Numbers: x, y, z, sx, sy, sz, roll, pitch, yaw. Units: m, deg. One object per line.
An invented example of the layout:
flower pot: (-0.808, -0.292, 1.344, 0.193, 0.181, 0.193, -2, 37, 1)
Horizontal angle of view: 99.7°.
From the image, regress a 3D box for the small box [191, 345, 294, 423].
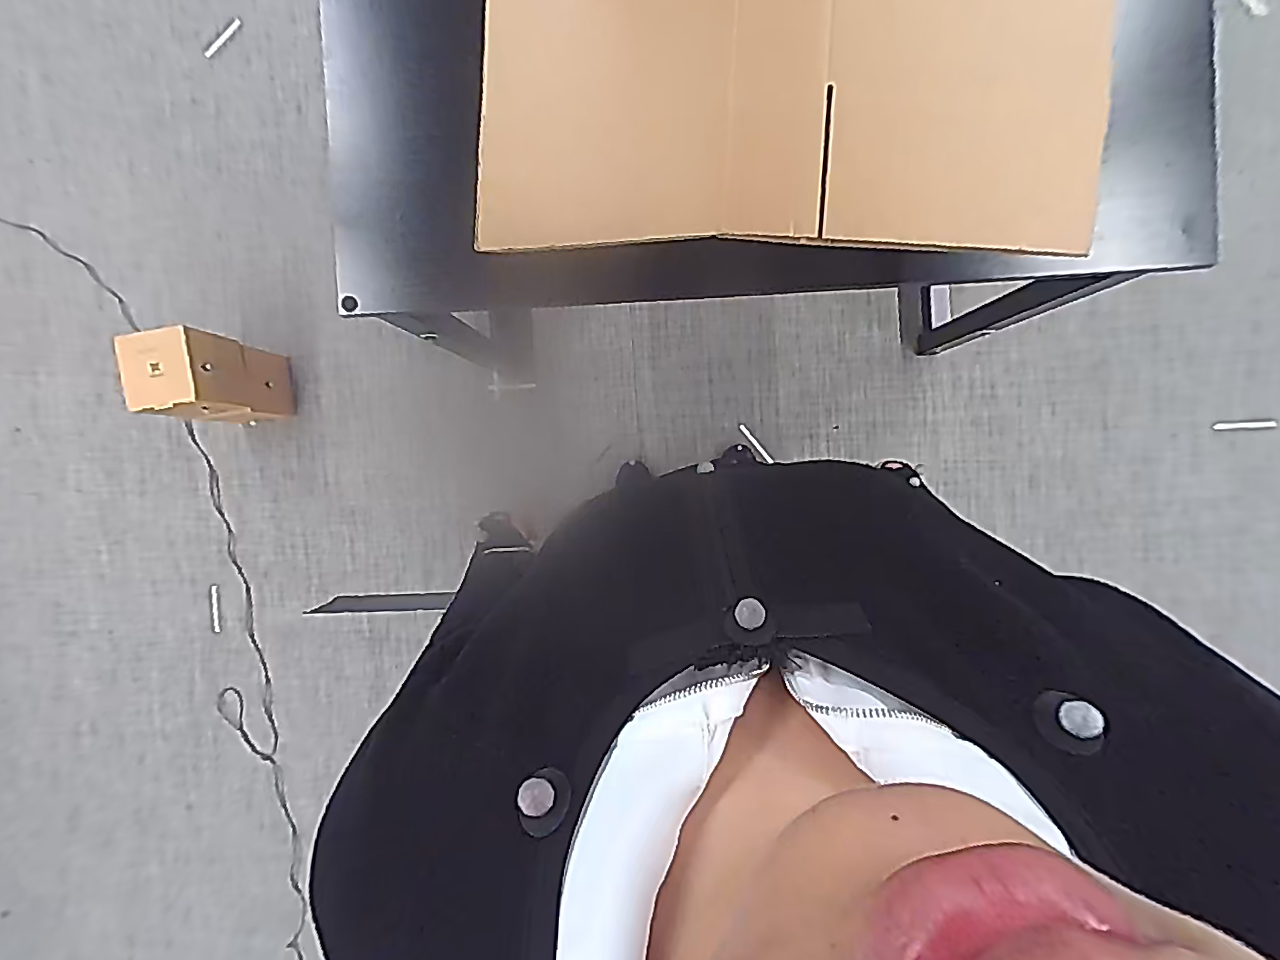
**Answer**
small box: (-1.074, -0.252, 1.457, 0.168, 0.176, 0.179, -6, 93, 3)

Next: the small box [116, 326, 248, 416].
small box: (-1.084, -0.252, 1.295, 0.168, 0.176, 0.179, -10, 91, 2)
